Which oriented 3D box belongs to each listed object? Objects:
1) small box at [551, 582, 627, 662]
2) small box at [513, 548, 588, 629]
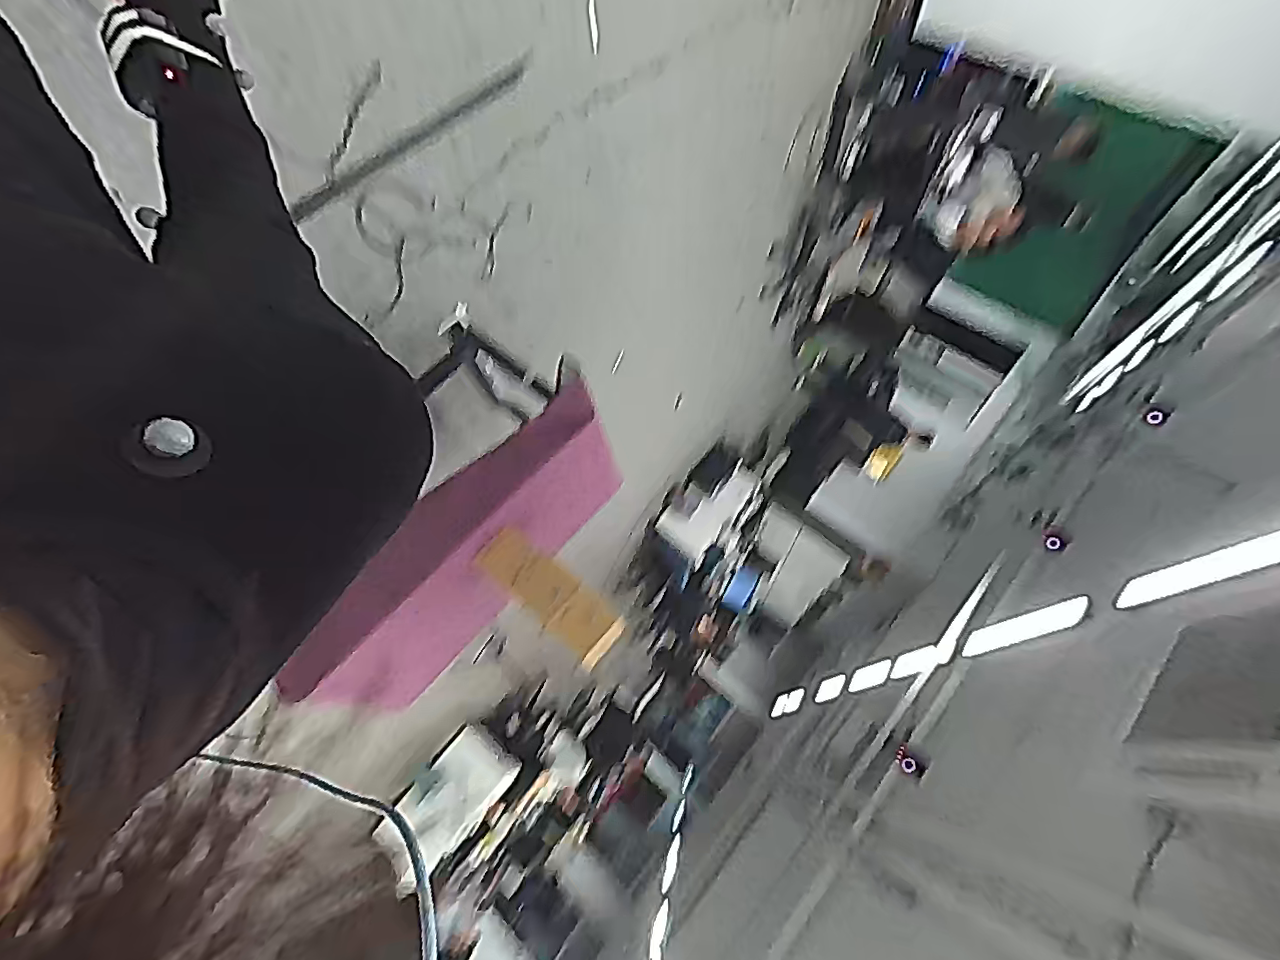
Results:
[{"bbox_3d":[-0.162,0.446,1.714,0.168,0.176,0.179,-46,161,-17],"label":"small box"},{"bbox_3d":[-0.284,0.350,1.763,0.179,0.176,0.168,-46,159,-17],"label":"small box"}]
